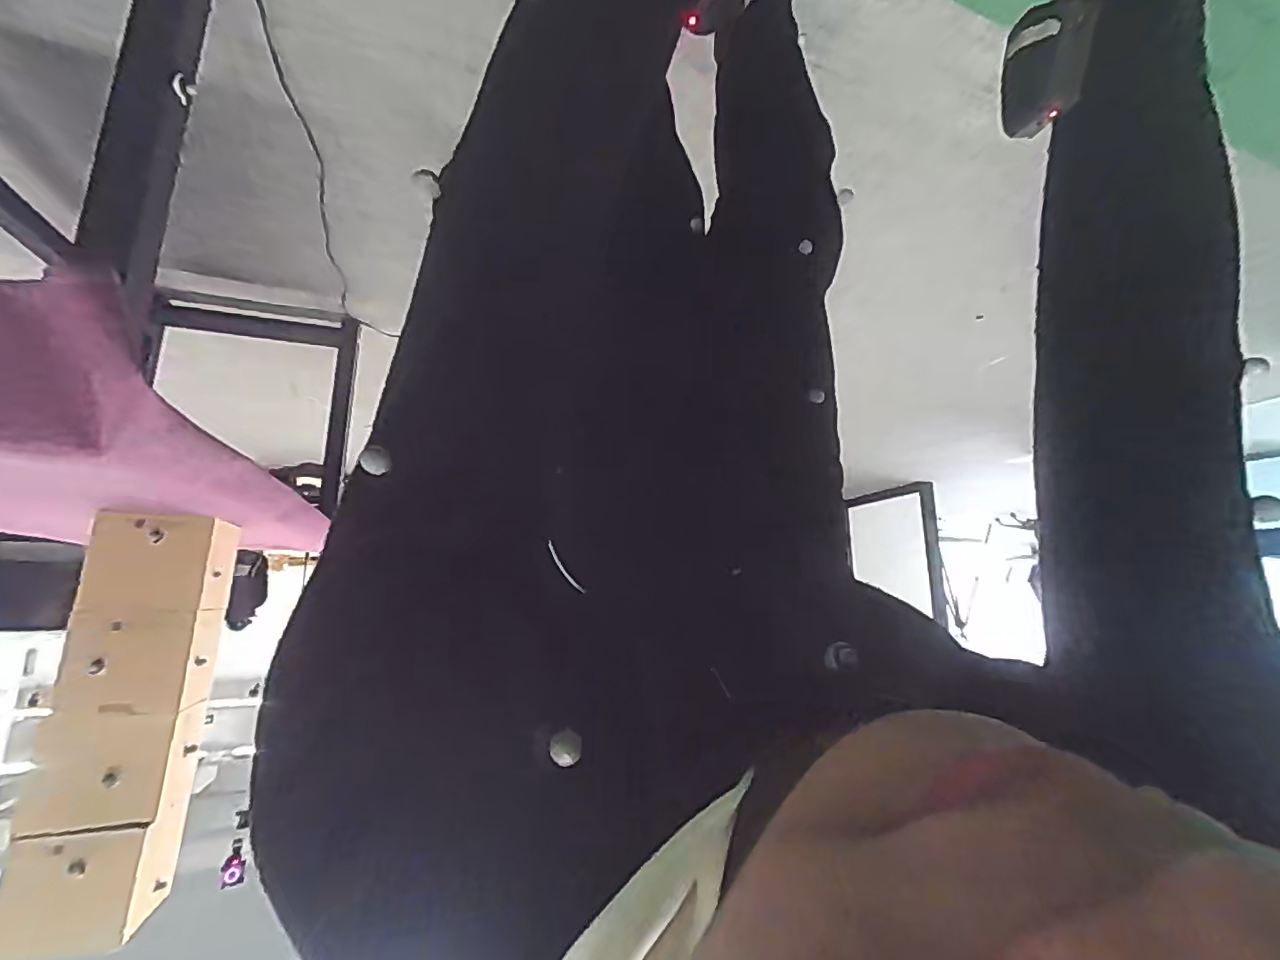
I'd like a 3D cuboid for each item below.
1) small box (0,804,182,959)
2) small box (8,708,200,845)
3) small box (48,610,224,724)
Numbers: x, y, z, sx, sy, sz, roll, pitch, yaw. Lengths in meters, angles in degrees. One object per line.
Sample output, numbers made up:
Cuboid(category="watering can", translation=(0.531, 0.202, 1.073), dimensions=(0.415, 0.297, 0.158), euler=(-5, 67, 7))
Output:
Cuboid(category="small box", translation=(-0.875, 0.633, 0.863), dimensions=(0.168, 0.176, 0.179), euler=(7, 164, -20))
Cuboid(category="small box", translation=(-0.871, 0.473, 0.904), dimensions=(0.179, 0.176, 0.168), euler=(6, 164, -22))
Cuboid(category="small box", translation=(-0.862, 0.316, 0.945), dimensions=(0.168, 0.176, 0.179), euler=(7, 165, -22))
